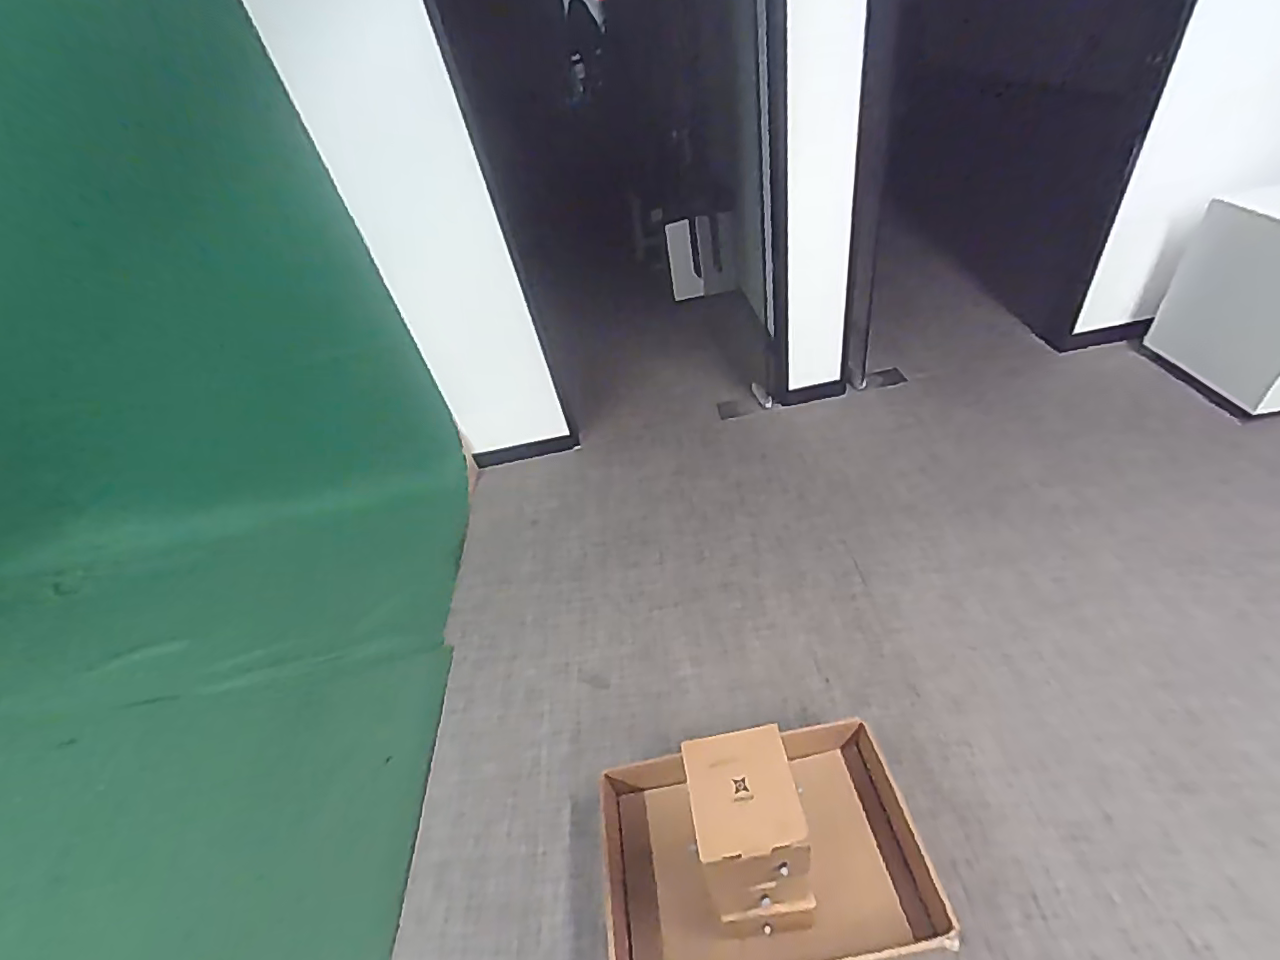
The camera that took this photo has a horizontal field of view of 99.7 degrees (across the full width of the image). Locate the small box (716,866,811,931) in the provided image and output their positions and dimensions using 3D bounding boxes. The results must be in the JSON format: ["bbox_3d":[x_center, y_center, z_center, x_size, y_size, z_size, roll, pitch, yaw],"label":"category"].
[{"bbox_3d":[0.240,0.795,1.106,0.179,0.176,0.168,-11,39,5],"label":"small box"}]

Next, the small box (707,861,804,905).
[{"bbox_3d":[0.202,0.668,1.016,0.168,0.176,0.179,-15,40,1],"label":"small box"}]

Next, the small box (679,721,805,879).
[{"bbox_3d":[0.167,0.534,0.897,0.168,0.176,0.179,-12,39,2],"label":"small box"}]
